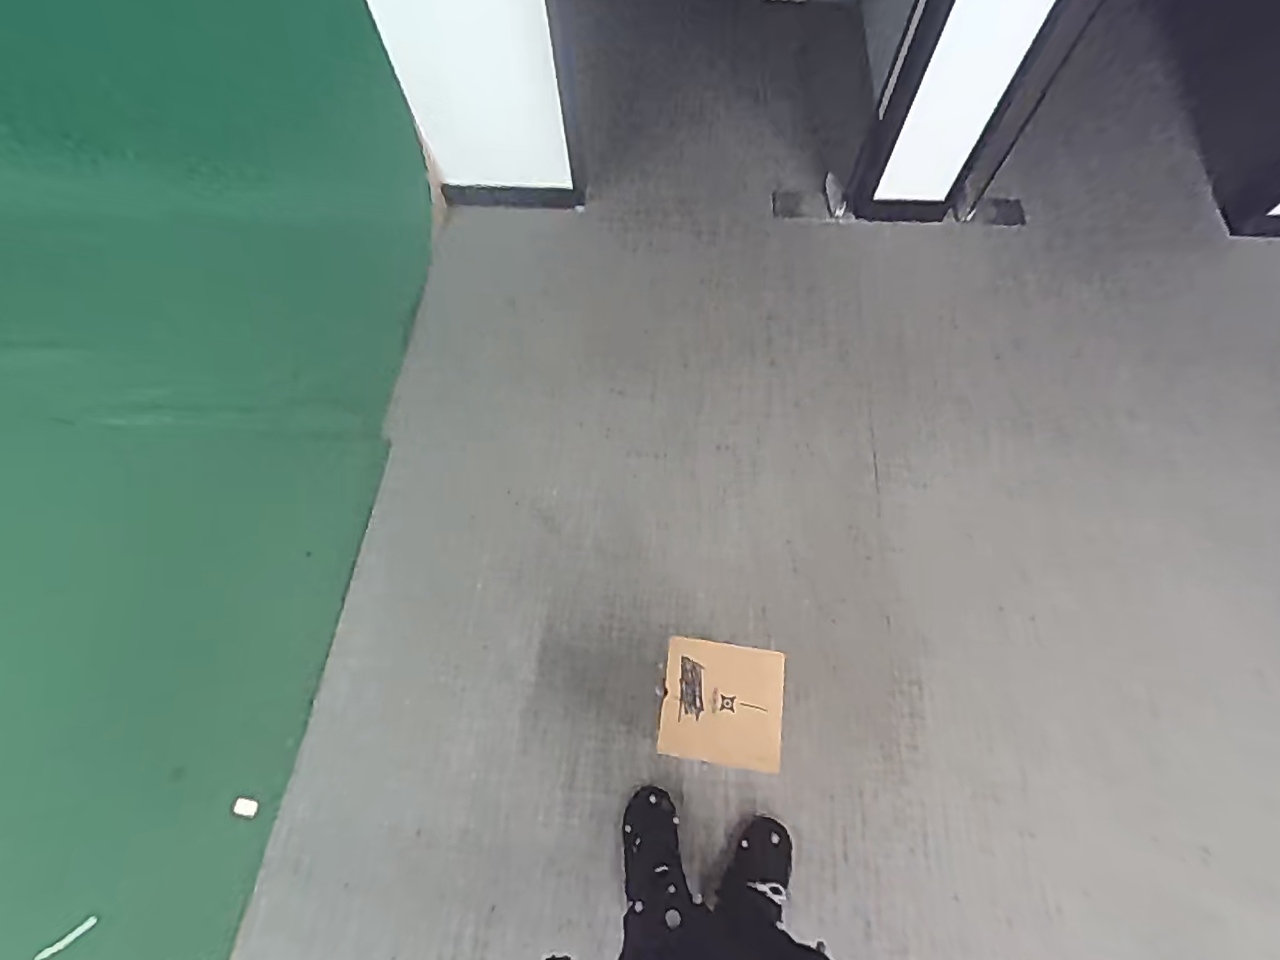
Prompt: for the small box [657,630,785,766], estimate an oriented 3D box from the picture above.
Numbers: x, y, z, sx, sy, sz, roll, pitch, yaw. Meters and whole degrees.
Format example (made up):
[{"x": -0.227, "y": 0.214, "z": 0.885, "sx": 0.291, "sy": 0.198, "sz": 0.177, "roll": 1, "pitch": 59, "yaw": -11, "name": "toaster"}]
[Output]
[{"x": 0.126, "y": 0.348, "z": 0.865, "sx": 0.179, "sy": 0.176, "sz": 0.168, "roll": 7, "pitch": 67, "yaw": 6, "name": "small box"}]
